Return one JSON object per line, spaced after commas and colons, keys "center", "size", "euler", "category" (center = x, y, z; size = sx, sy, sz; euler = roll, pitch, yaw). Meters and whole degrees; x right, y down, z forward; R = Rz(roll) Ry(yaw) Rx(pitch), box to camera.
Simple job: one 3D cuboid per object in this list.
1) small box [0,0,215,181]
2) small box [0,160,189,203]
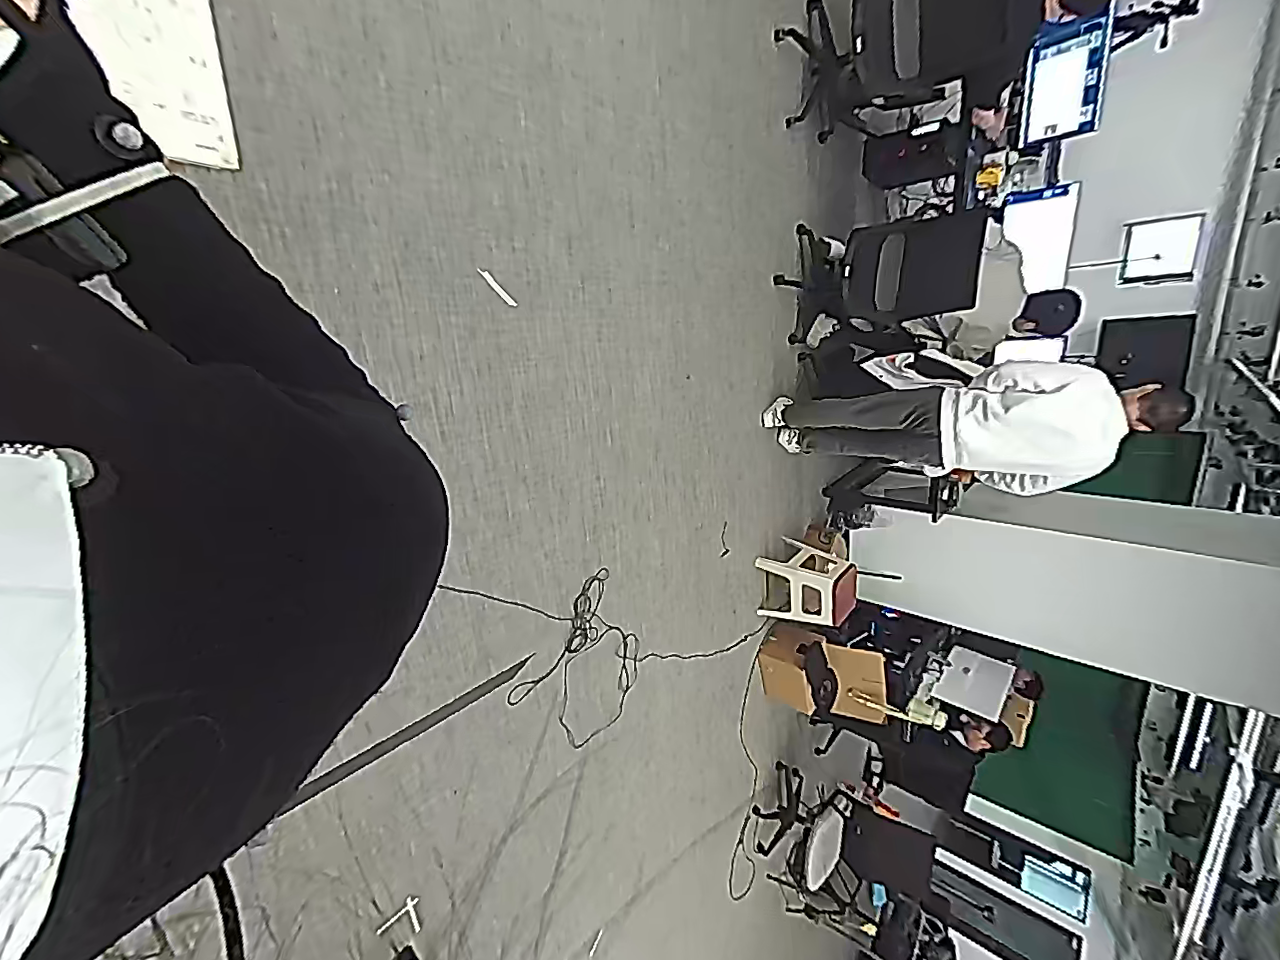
{"center": [-0.561, -0.419, 0.532], "size": [0.168, 0.176, 0.179], "euler": [-21, 114, -47], "category": "small box"}
{"center": [-0.684, -0.435, 0.638], "size": [0.179, 0.176, 0.168], "euler": [-23, 116, -46], "category": "small box"}
